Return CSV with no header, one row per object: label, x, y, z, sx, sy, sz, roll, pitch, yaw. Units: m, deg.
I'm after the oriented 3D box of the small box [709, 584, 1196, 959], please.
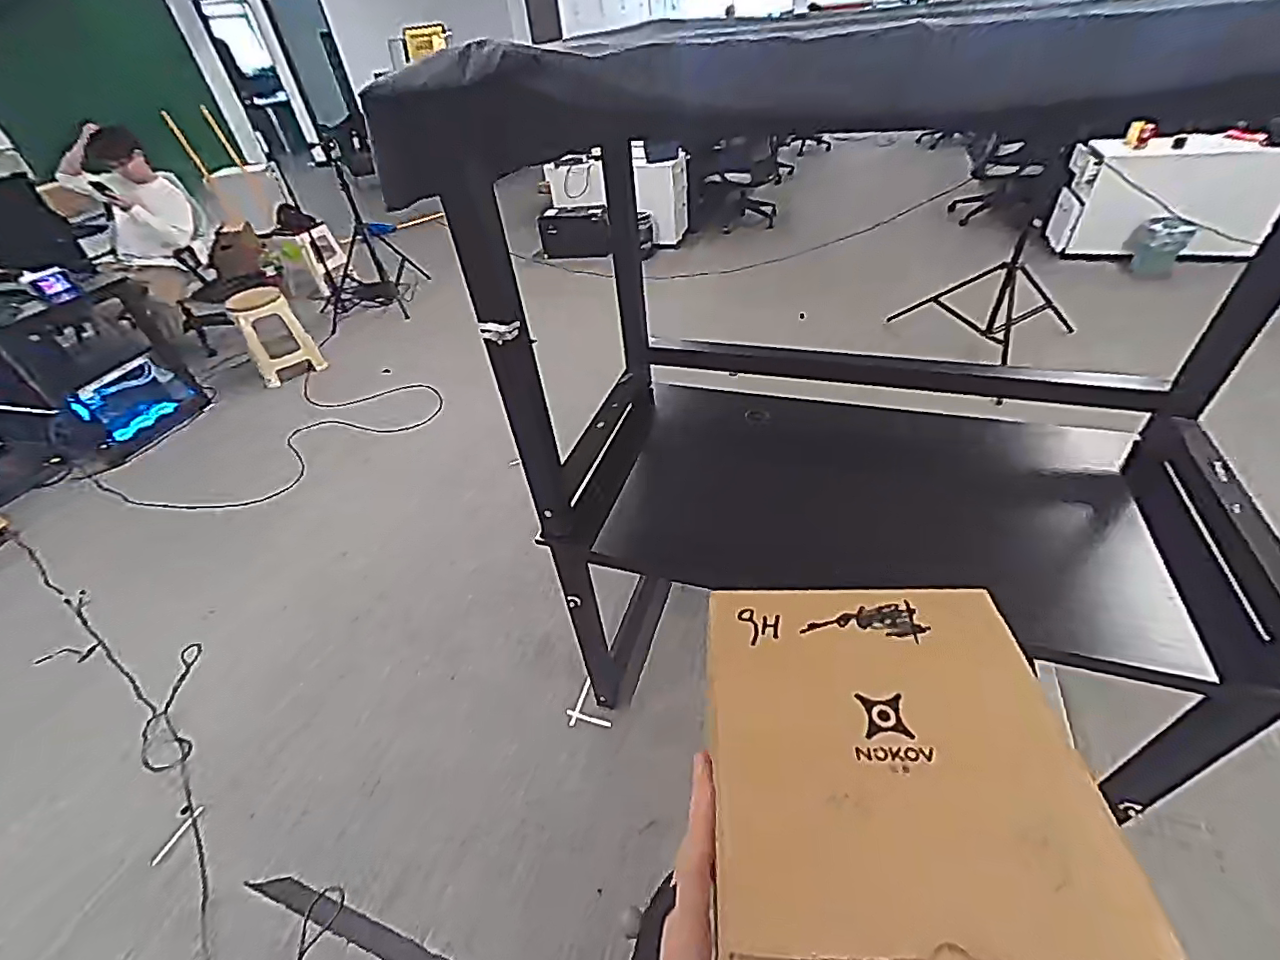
small box,0.126,0.180,0.309,0.168,0.176,0.179,-1,41,4
